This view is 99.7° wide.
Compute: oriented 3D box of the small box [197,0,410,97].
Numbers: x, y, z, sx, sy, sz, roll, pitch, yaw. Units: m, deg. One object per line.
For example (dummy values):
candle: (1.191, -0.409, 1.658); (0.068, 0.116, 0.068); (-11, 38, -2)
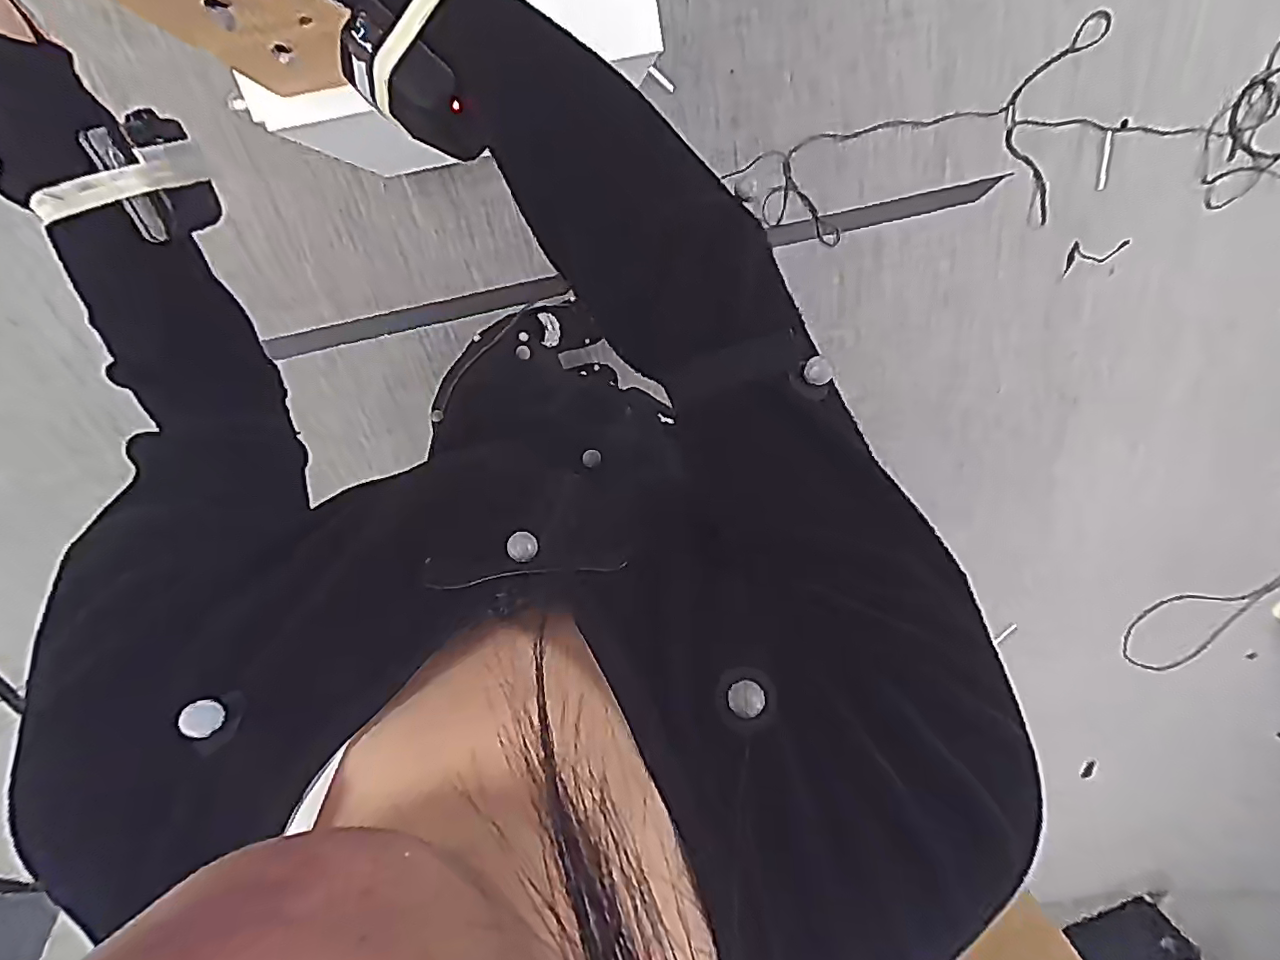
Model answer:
small box: (-0.357, -0.524, 0.545); (0.168, 0.176, 0.179); (-14, 114, -4)

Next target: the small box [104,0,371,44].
small box: (-0.330, -0.458, 0.399); (0.168, 0.176, 0.179); (-15, 115, -3)
